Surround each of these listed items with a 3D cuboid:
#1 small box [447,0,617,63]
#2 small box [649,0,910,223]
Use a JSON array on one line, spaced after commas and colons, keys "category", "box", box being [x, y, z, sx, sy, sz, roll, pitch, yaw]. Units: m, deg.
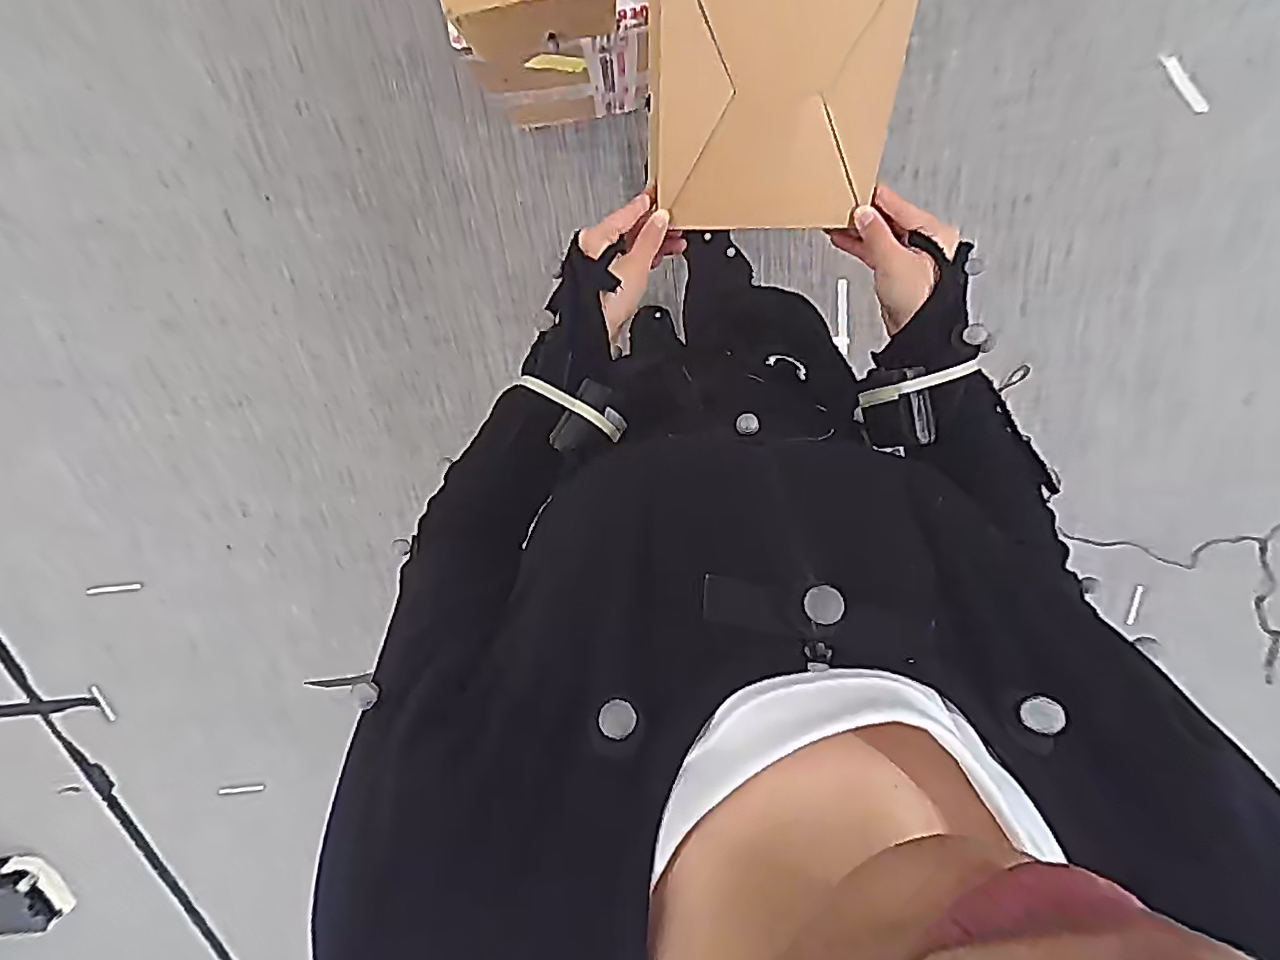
[{"category": "small box", "box": [-0.125, -0.577, 0.570, 0.179, 0.176, 0.168, -9, 115, 3]}, {"category": "small box", "box": [0.093, -0.320, 0.441, 0.168, 0.176, 0.179, -2, 128, -2]}]
